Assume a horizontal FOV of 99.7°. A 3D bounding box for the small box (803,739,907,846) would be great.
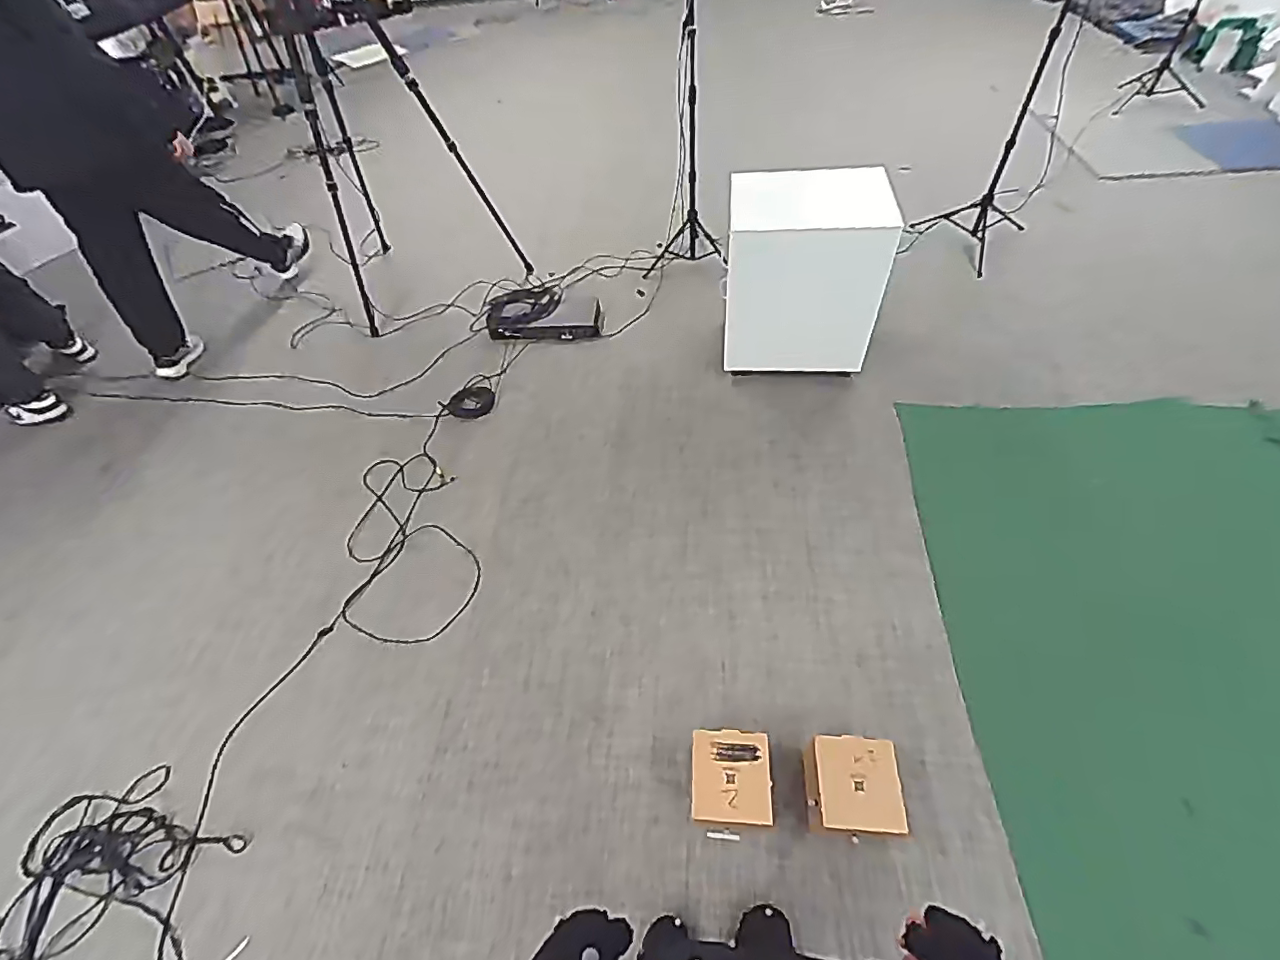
[{"bbox_3d":[0.456,0.681,1.174,0.168,0.176,0.179,1,52,6],"label":"small box"}]
